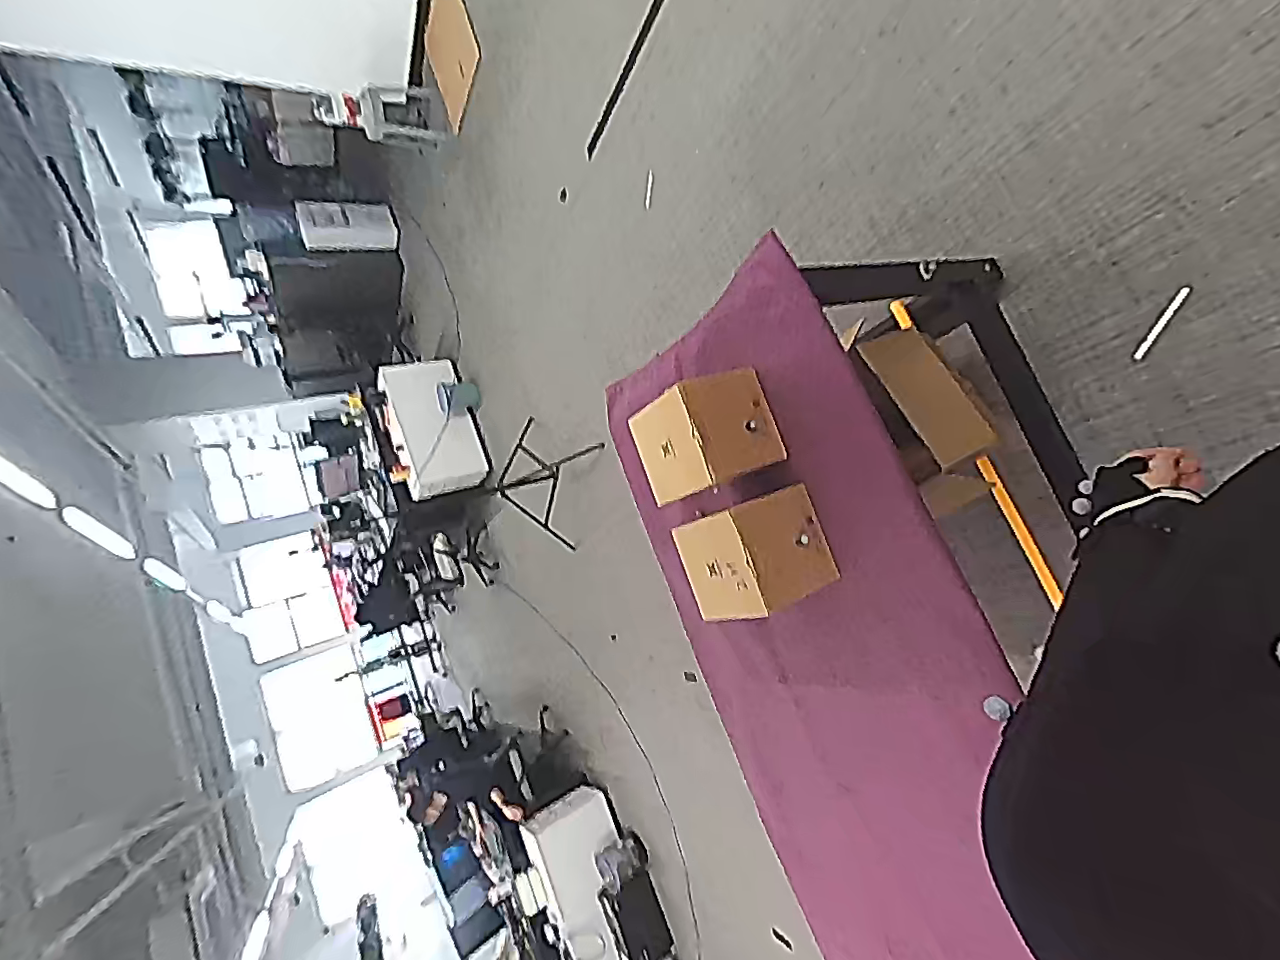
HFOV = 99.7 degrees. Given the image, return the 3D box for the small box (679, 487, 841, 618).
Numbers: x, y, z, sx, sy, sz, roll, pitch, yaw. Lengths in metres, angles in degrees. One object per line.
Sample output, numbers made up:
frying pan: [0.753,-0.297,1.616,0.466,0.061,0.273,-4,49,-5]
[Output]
small box: [0.198,0.123,0.908,0.179,0.176,0.168,-30,78,59]

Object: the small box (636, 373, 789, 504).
small box: [0.123,-0.071,0.941,0.179,0.176,0.168,-30,79,59]
